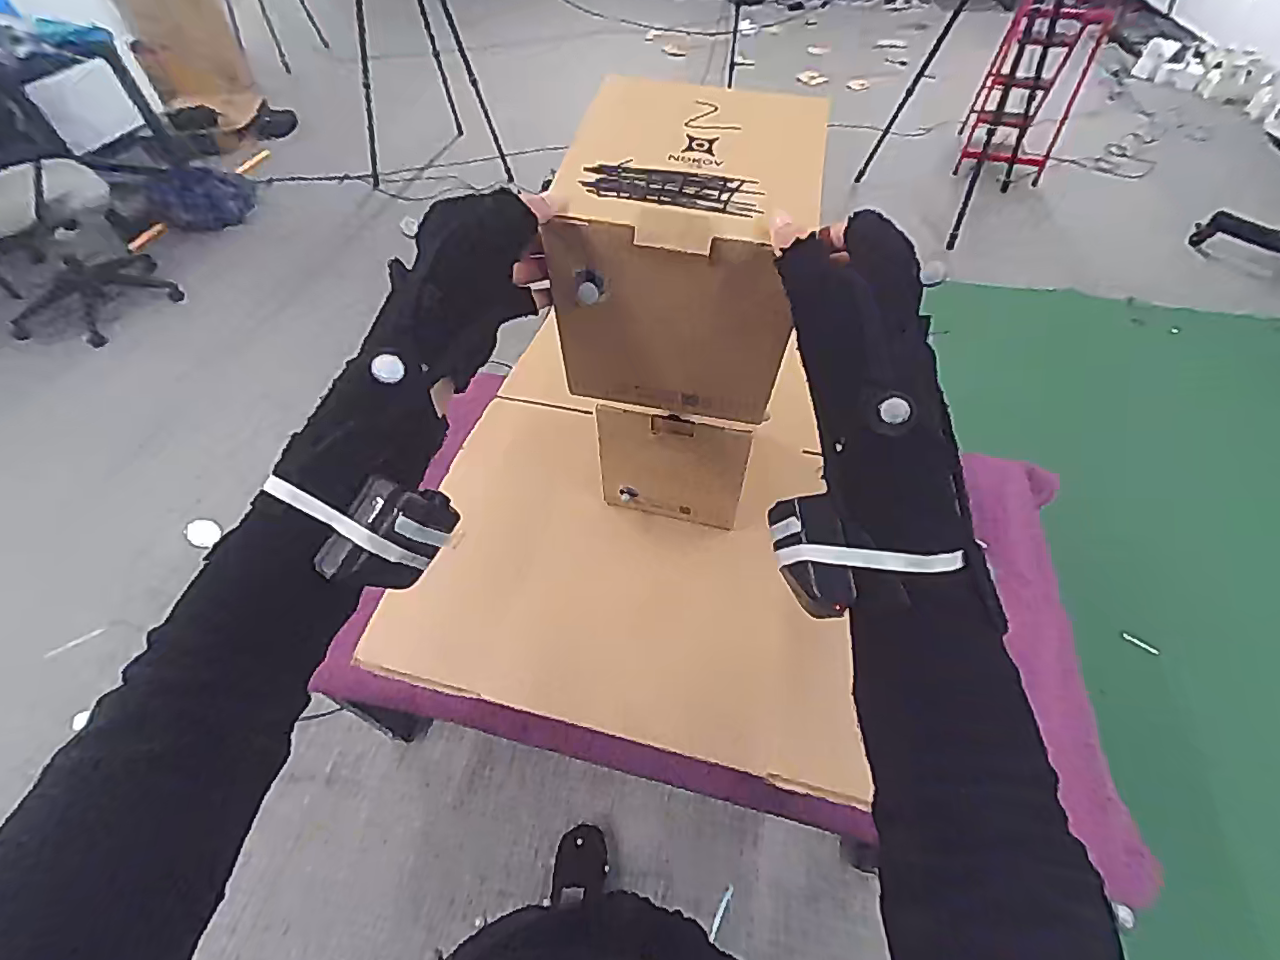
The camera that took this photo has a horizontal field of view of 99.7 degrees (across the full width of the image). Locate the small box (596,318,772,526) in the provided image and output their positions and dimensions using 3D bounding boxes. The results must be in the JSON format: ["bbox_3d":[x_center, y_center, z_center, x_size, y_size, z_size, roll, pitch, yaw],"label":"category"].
[{"bbox_3d":[0.055,-0.067,0.656,0.168,0.176,0.179,12,51,10],"label":"small box"}]
